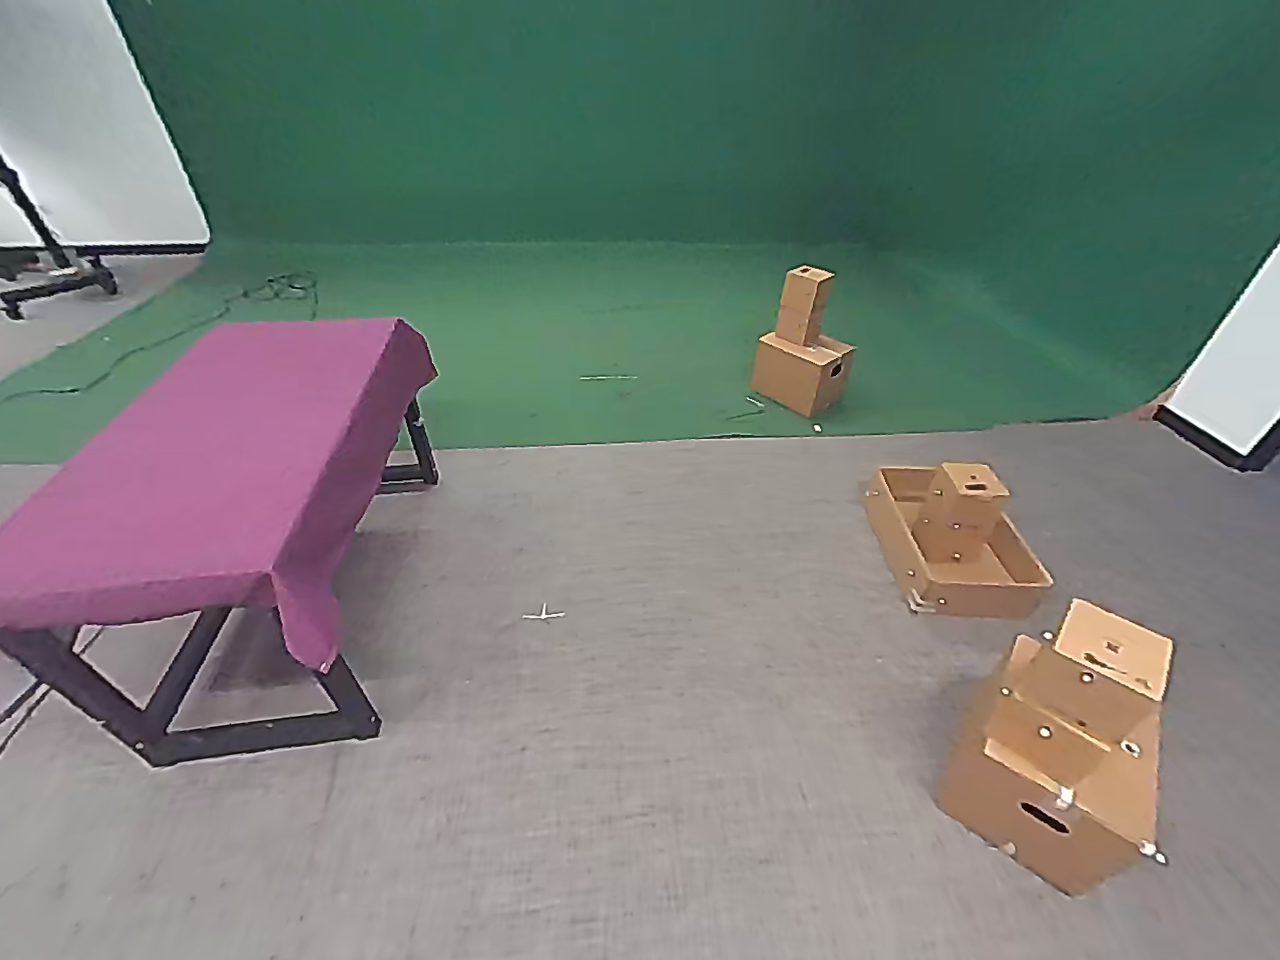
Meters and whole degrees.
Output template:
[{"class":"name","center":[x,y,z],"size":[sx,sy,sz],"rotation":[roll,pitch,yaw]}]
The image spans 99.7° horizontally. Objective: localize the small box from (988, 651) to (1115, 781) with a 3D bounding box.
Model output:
[{"class":"small box","center":[0.906,0.516,1.176],"size":[0.168,0.176,0.179],"rotation":[-30,45,-31]}]

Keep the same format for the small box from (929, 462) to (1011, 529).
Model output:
[{"class":"small box","center":[1.144,0.056,1.888],"size":[0.168,0.176,0.179],"rotation":[2,38,2]}]

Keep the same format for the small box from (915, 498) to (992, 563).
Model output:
[{"class":"small box","center":[1.144,0.185,1.991],"size":[0.168,0.176,0.179],"rotation":[1,39,1]}]

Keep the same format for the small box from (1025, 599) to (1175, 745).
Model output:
[{"class":"small box","center":[0.911,0.381,1.081],"size":[0.168,0.176,0.179],"rotation":[29,47,35]}]
